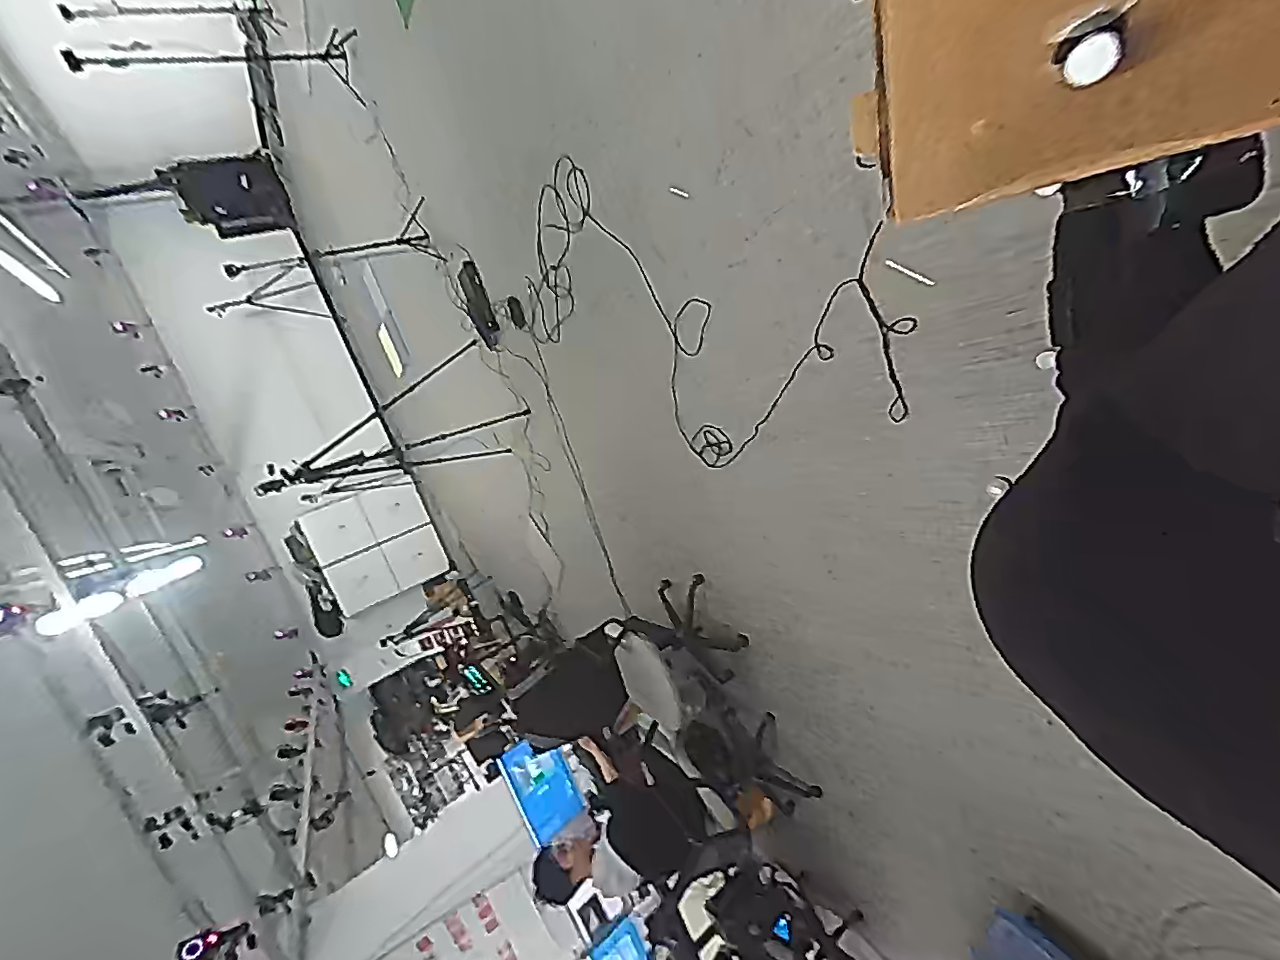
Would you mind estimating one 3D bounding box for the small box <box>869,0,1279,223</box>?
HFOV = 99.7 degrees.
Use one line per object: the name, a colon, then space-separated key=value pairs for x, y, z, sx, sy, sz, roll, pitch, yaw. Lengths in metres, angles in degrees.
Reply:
small box: x=0.180 y=-0.241 z=0.204 sx=0.176 sy=0.179 sz=0.168 roll=-6 pitch=74 yaw=27
